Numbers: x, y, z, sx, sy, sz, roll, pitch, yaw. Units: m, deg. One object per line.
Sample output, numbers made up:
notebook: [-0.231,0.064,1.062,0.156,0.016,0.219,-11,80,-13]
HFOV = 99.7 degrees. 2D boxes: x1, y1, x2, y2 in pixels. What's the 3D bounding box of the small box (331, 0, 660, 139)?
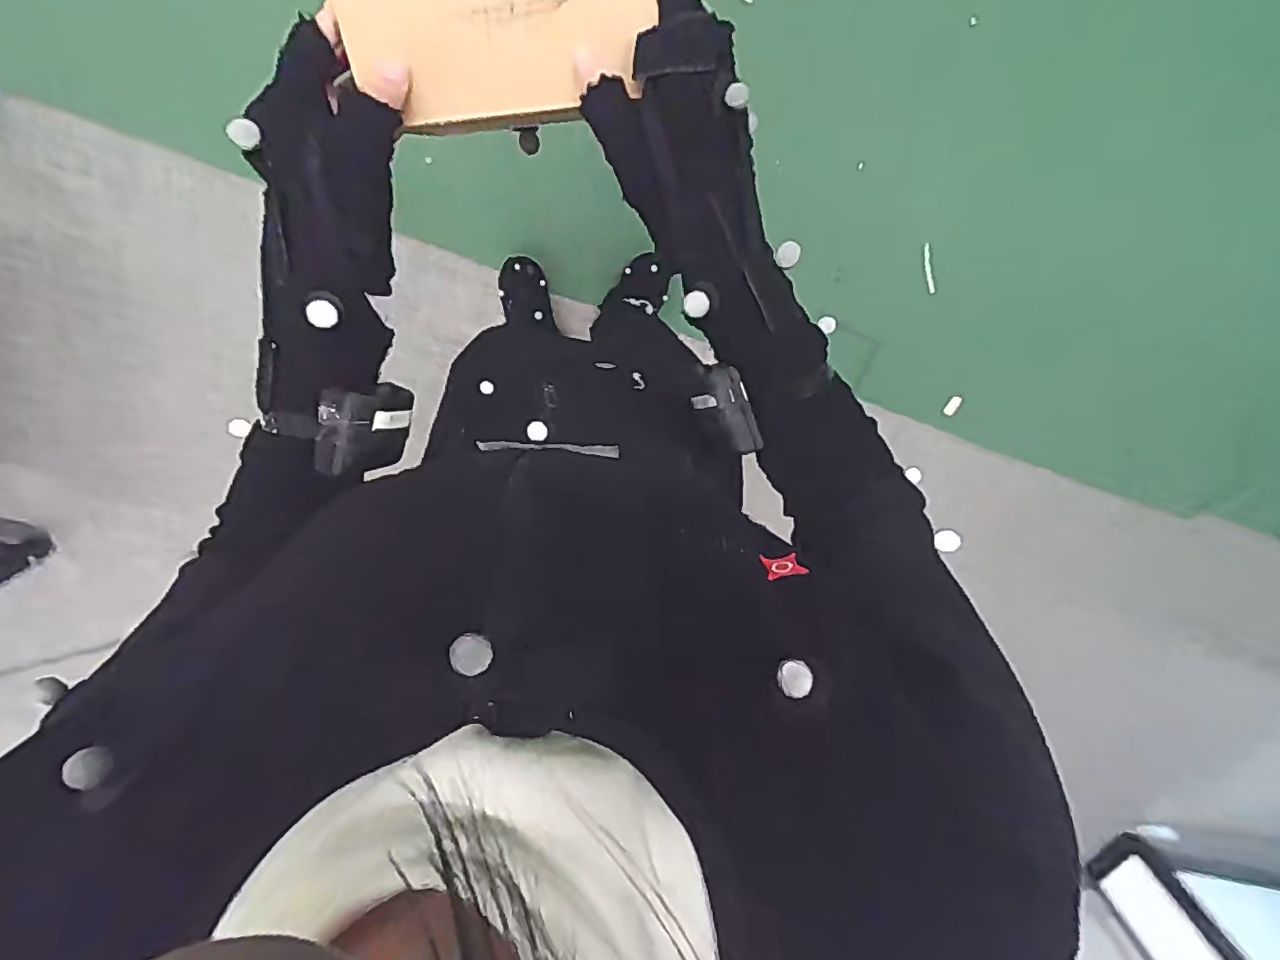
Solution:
small box: [-0.082,-0.318,0.325,0.168,0.176,0.179,-7,122,1]
